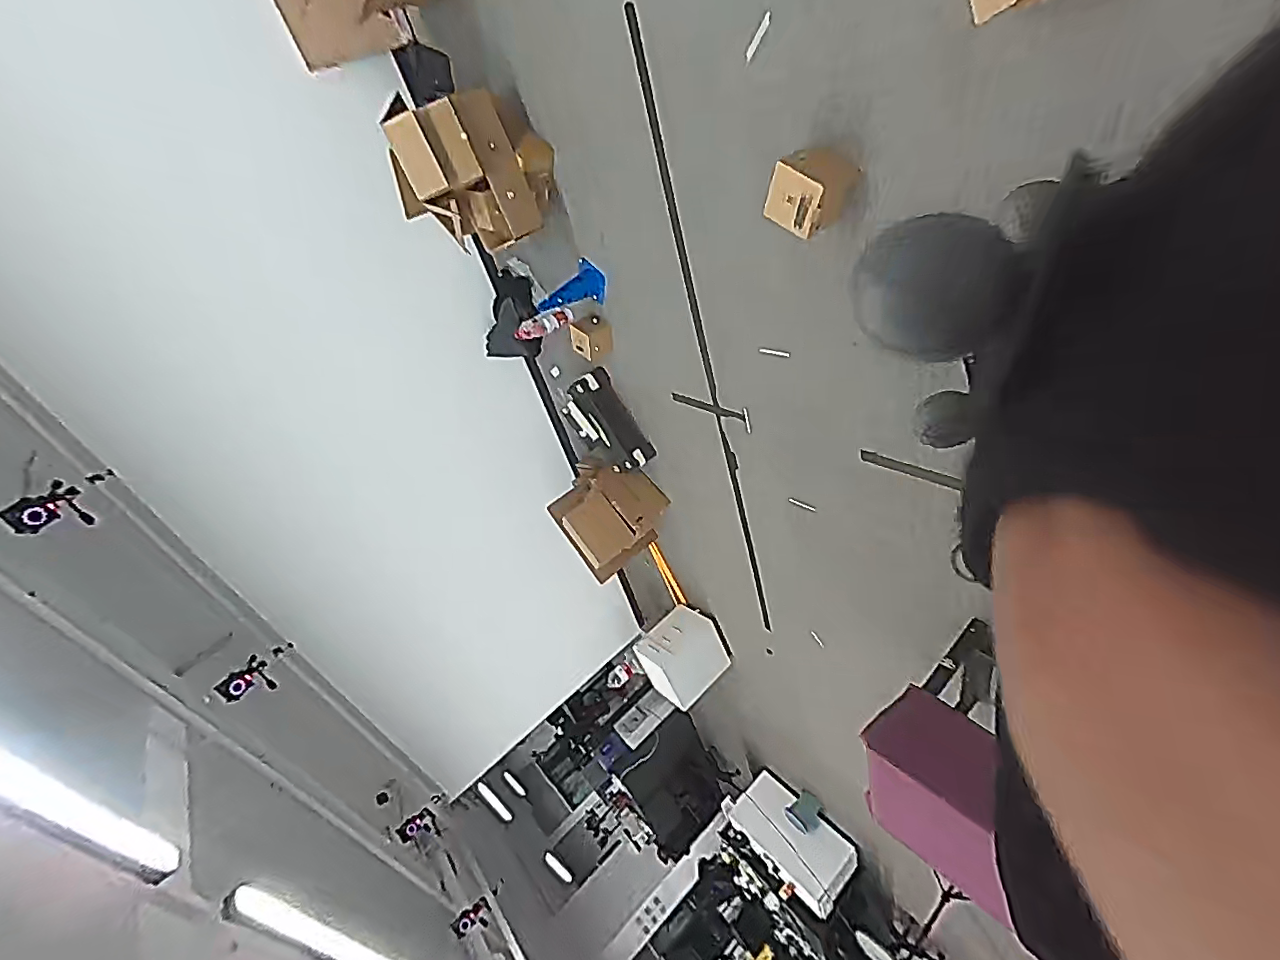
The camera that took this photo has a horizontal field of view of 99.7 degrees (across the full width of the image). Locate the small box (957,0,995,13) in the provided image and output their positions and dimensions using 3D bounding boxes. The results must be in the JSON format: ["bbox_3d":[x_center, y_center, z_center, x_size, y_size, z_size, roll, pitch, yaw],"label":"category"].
[{"bbox_3d":[0.704,-1.029,1.007,0.168,0.176,0.179,11,133,56],"label":"small box"}]
